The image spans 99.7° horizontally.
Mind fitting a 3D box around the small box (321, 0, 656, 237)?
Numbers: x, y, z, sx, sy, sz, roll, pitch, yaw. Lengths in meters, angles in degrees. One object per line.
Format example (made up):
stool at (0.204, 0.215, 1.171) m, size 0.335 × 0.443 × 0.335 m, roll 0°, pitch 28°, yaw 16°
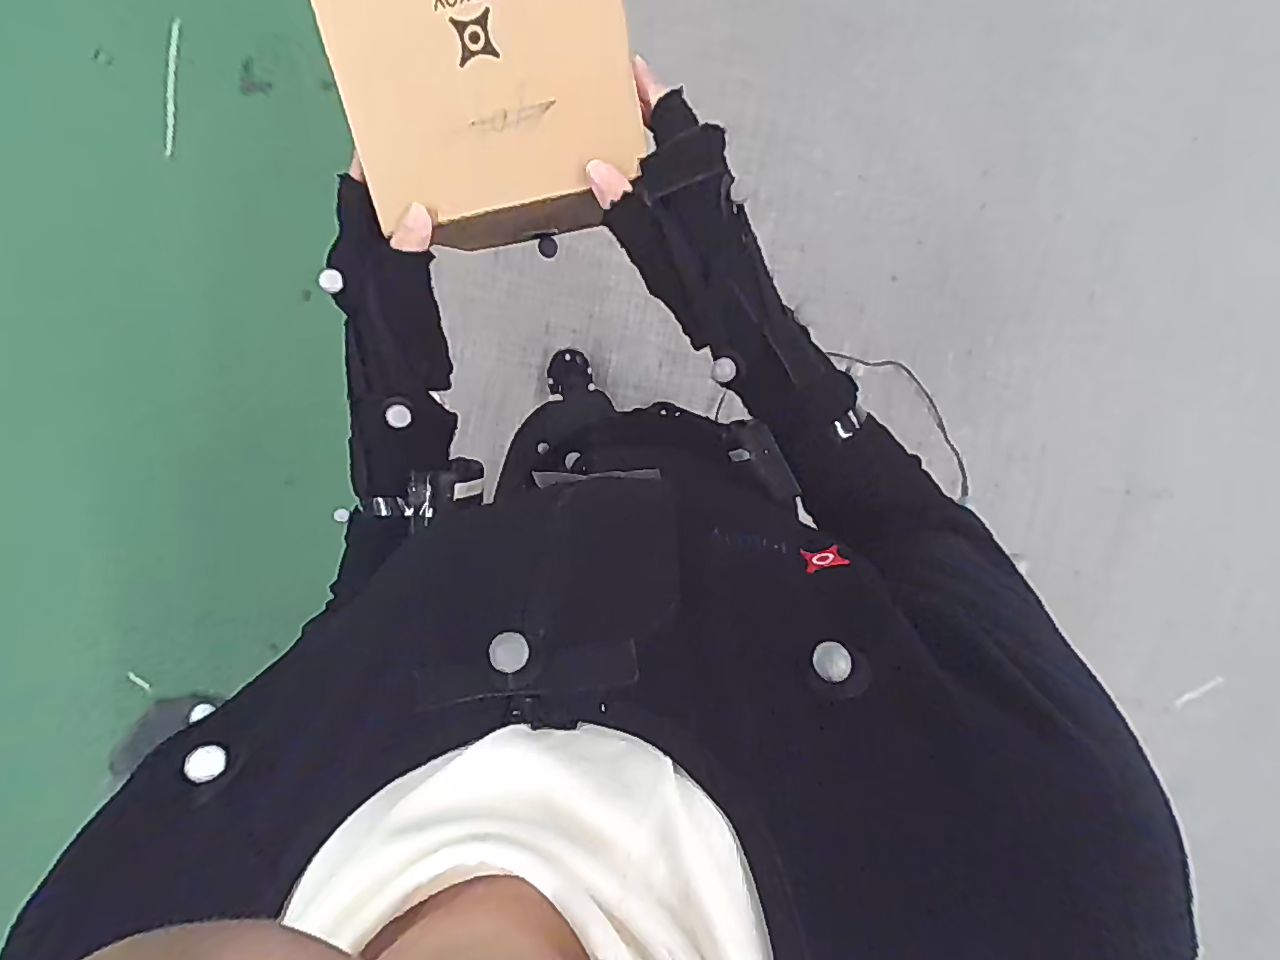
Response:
small box at (-0.083, -0.276, 0.362) m, size 0.168 × 0.176 × 0.179 m, roll -8°, pitch 109°, yaw 7°
